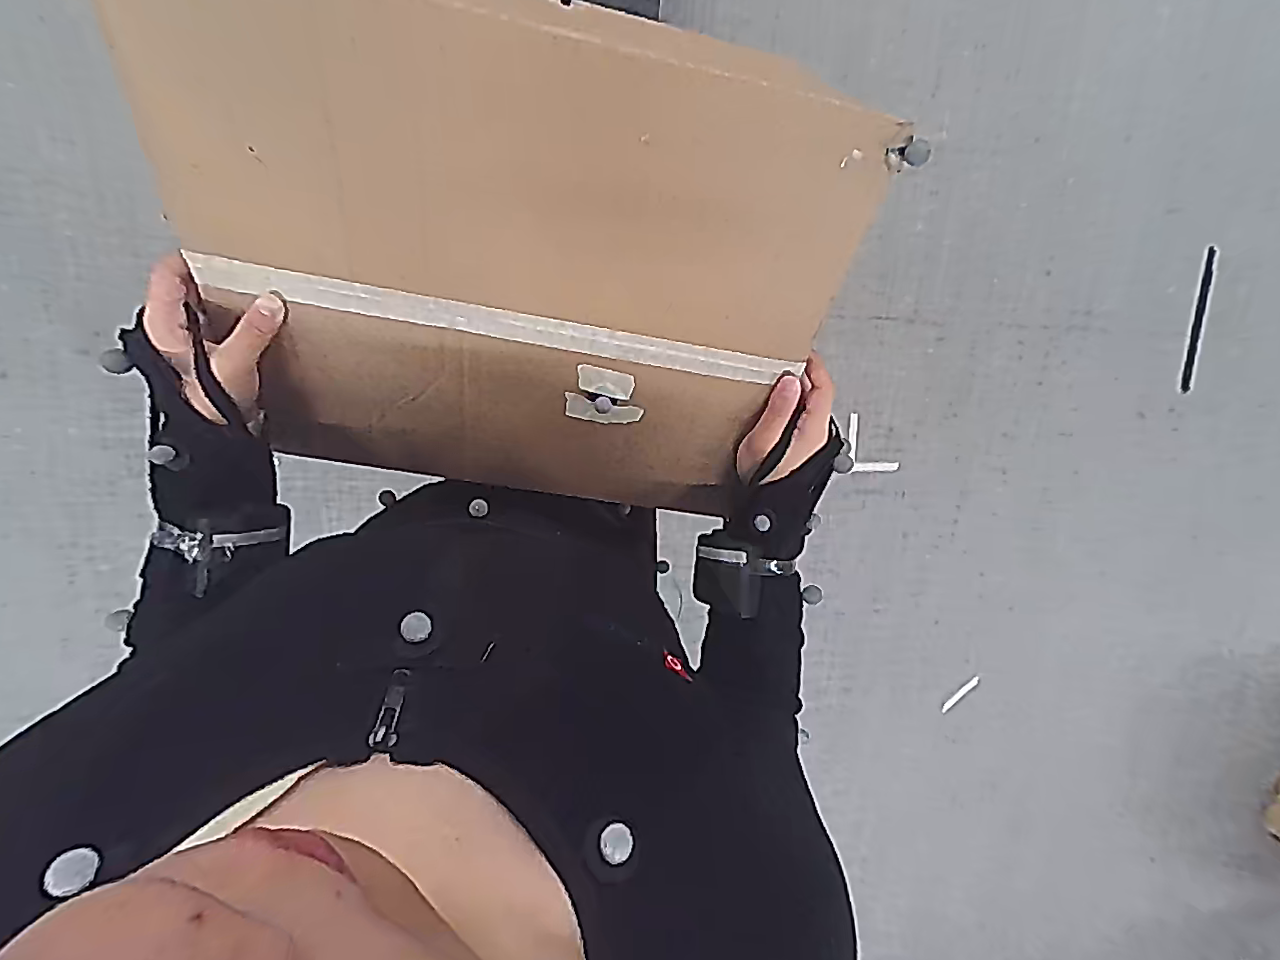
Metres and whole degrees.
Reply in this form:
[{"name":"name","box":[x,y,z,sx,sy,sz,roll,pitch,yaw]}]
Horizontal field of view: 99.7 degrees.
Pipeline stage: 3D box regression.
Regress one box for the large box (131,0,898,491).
[{"name":"large box","box":[-0.080,-0.222,0.482,0.408,0.320,0.320,7,134,-8]}]
